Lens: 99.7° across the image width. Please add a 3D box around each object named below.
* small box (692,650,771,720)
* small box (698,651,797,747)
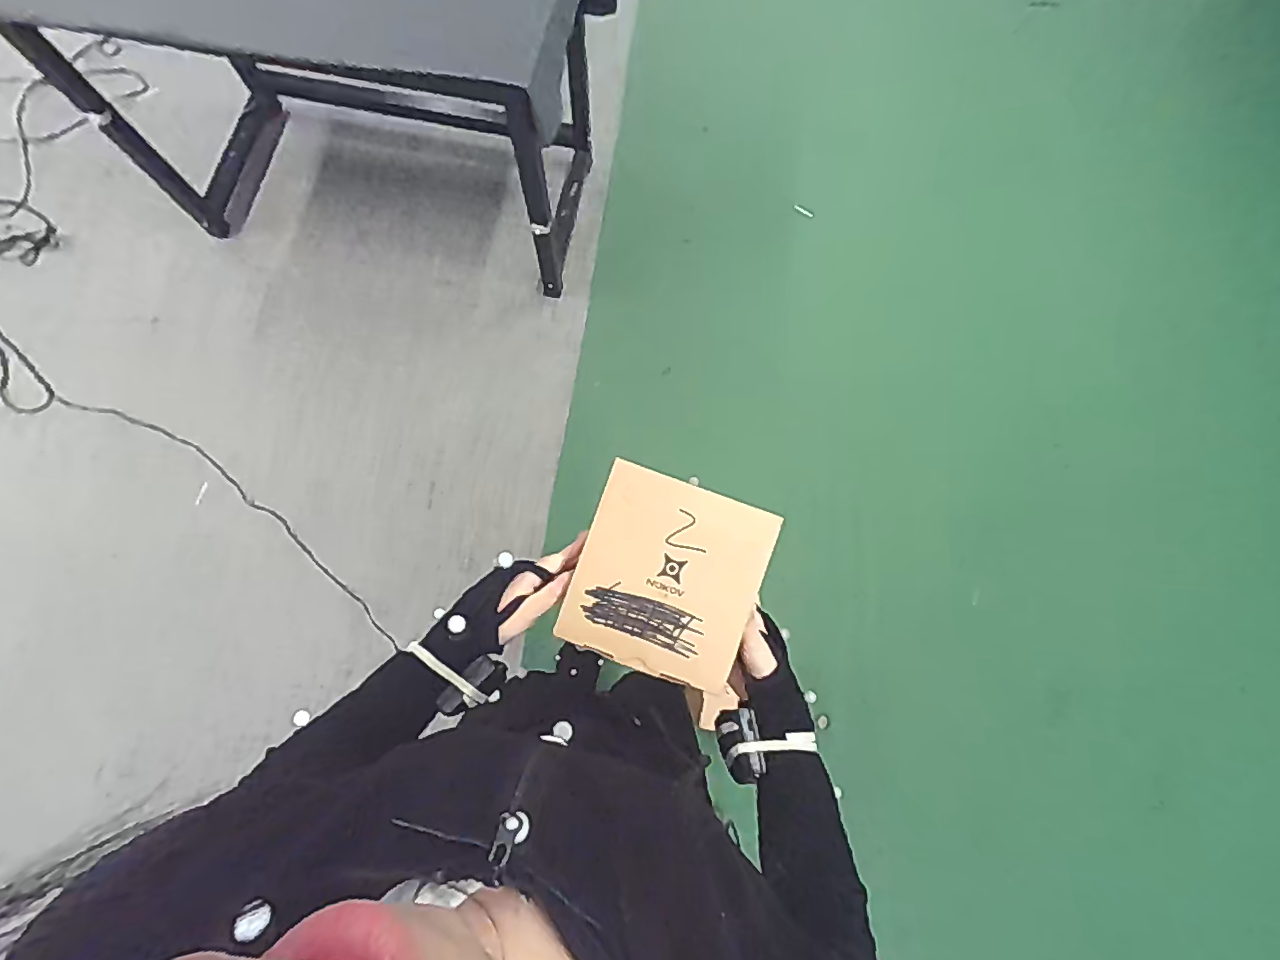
[{"bbox_3d":[0.234,0.539,1.396,0.179,0.176,0.168,9,74,0],"label":"small box"},{"bbox_3d":[0.240,0.491,1.238,0.179,0.176,0.168,11,74,1],"label":"small box"}]
